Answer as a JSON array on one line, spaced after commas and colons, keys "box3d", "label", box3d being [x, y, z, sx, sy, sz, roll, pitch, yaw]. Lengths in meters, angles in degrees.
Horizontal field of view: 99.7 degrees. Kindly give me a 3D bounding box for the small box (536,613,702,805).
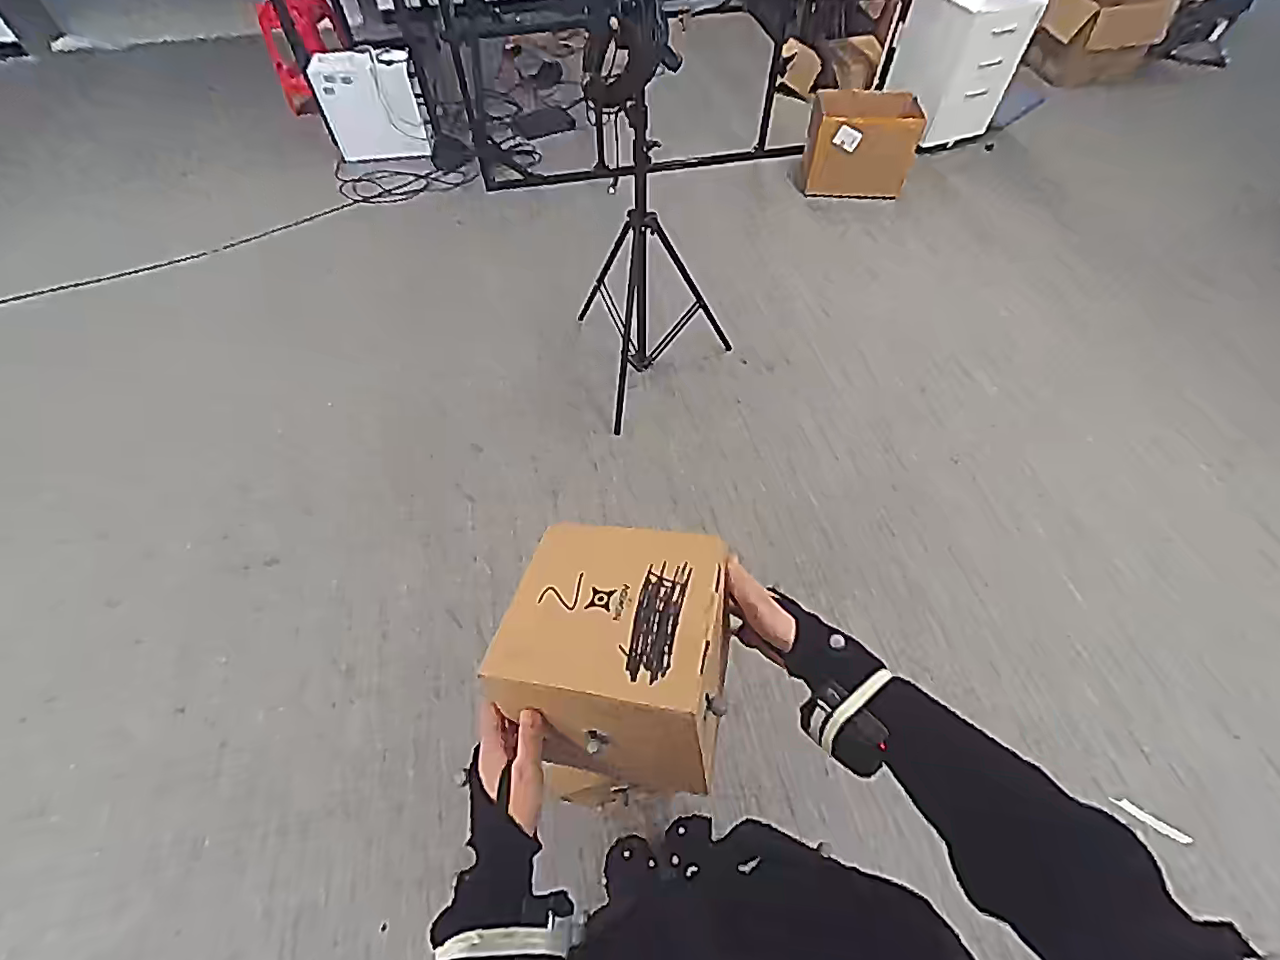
[{"box3d": [-0.028, 0.293, 0.682, 0.168, 0.176, 0.179, -12, 59, -5], "label": "small box"}]
